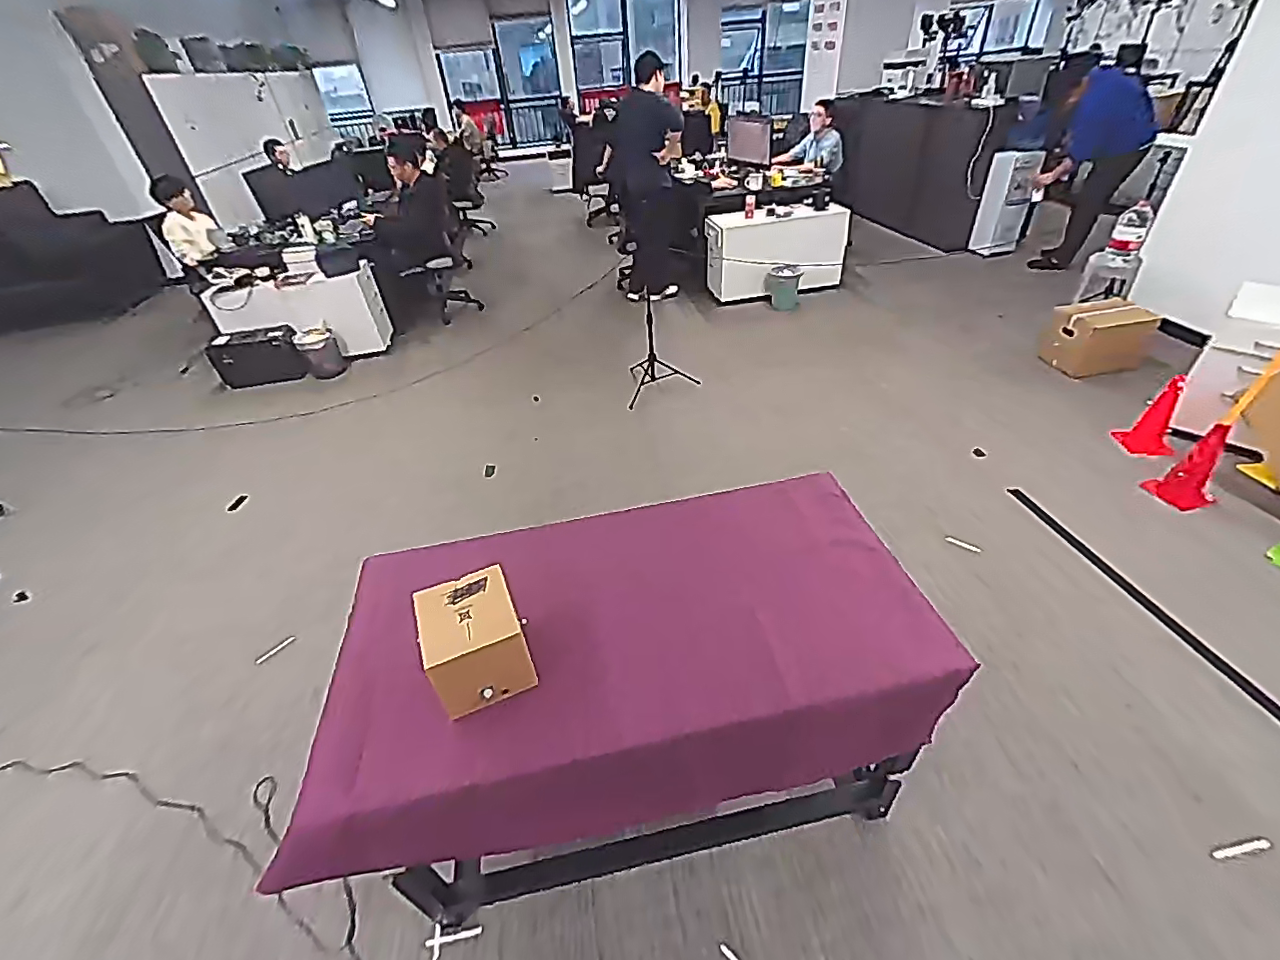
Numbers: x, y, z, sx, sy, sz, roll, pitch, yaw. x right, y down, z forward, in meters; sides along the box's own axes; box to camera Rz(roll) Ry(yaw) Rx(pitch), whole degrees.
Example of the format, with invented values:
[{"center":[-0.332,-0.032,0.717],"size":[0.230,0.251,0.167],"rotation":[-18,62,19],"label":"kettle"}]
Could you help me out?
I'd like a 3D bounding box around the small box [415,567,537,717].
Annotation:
[{"center":[-0.304,0.300,1.008],"size":[0.168,0.176,0.179],"rotation":[-19,41,-16],"label":"small box"}]
